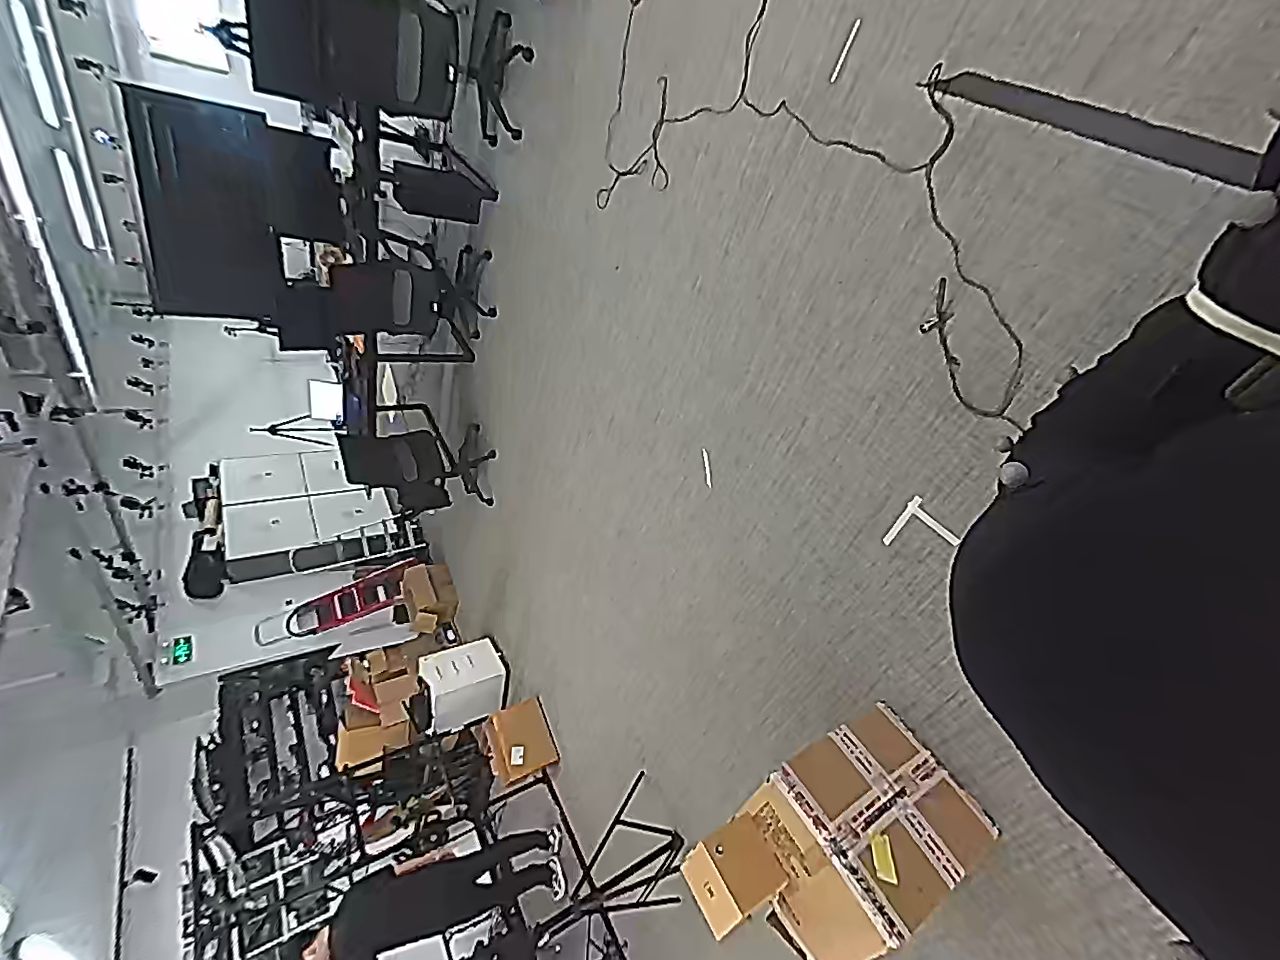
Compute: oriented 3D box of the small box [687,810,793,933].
[{"bbox_3d":[0.254,0.988,1.377,0.179,0.176,0.168,51,134,40],"label":"small box"}]
